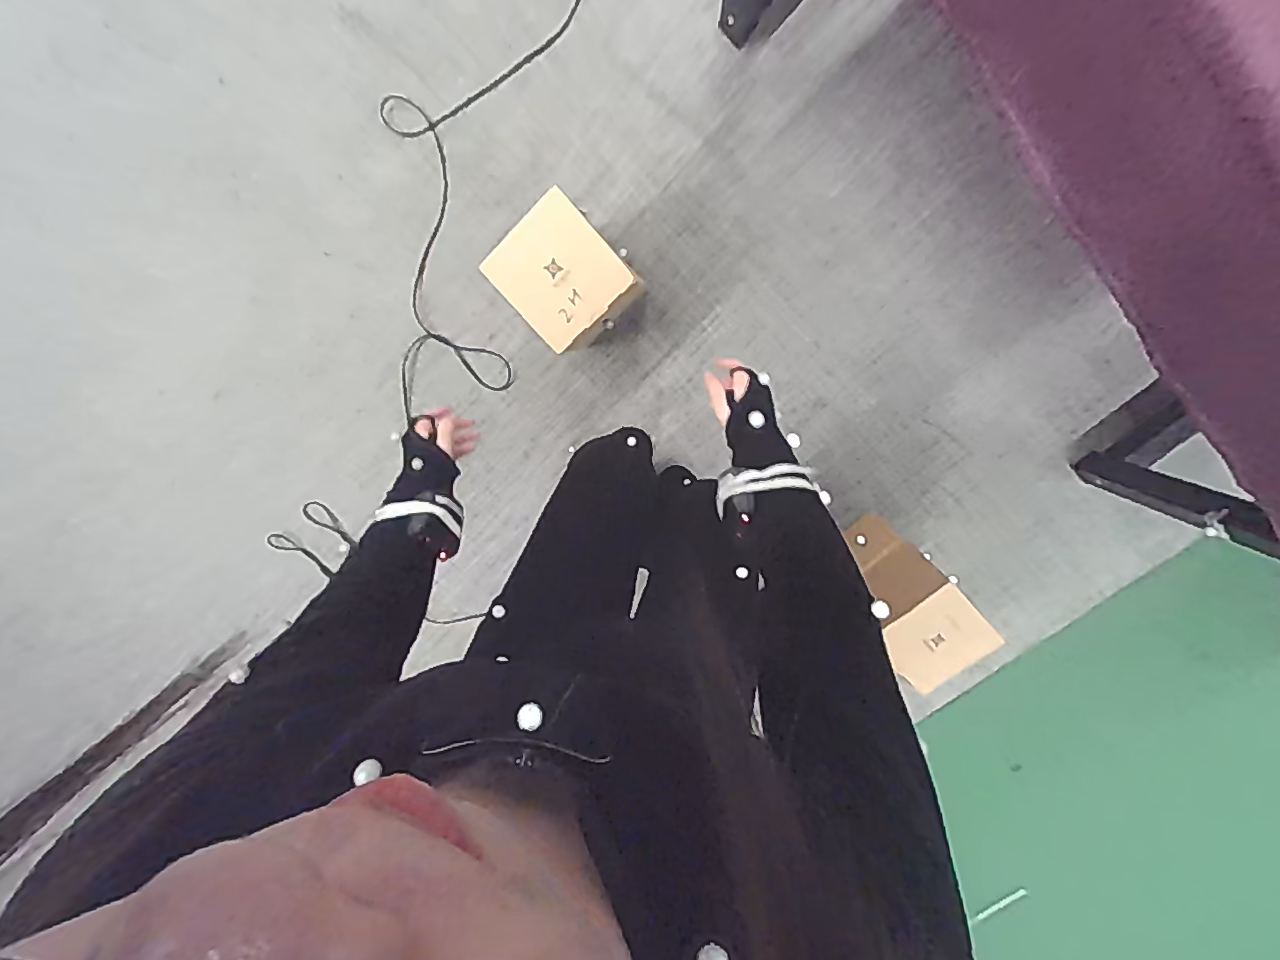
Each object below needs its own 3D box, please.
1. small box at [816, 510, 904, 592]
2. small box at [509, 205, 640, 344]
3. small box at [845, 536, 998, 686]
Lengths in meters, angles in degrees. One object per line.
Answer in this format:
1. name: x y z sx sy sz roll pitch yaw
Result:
1. small box: 0.515 0.185 1.178 0.179 0.176 0.168 42 105 -11
2. small box: -0.112 -0.380 1.027 0.179 0.176 0.168 -42 101 13
3. small box: 0.515 0.241 1.025 0.179 0.176 0.168 -42 103 14
